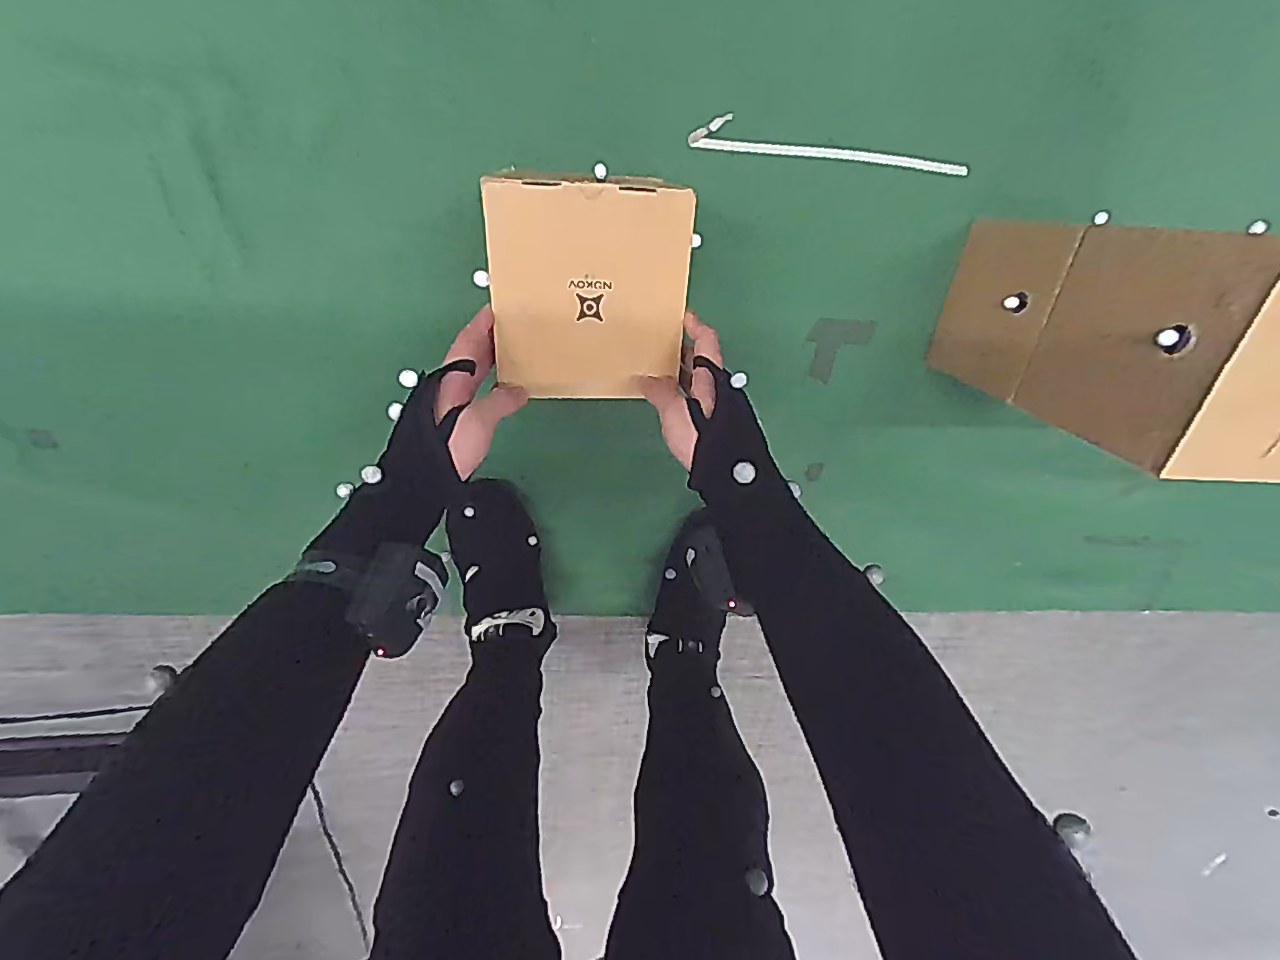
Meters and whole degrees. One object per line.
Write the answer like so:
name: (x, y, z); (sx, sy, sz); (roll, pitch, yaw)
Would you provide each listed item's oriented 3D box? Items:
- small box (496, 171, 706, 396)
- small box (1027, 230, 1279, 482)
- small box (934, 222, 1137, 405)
small box: (-0.042, -0.194, 0.525); (0.168, 0.176, 0.179); (0, 119, -8)
small box: (0.491, -0.113, 0.470); (0.168, 0.176, 0.179); (3, 117, -7)
small box: (0.474, -0.188, 0.614); (0.168, 0.176, 0.179); (3, 117, -8)
